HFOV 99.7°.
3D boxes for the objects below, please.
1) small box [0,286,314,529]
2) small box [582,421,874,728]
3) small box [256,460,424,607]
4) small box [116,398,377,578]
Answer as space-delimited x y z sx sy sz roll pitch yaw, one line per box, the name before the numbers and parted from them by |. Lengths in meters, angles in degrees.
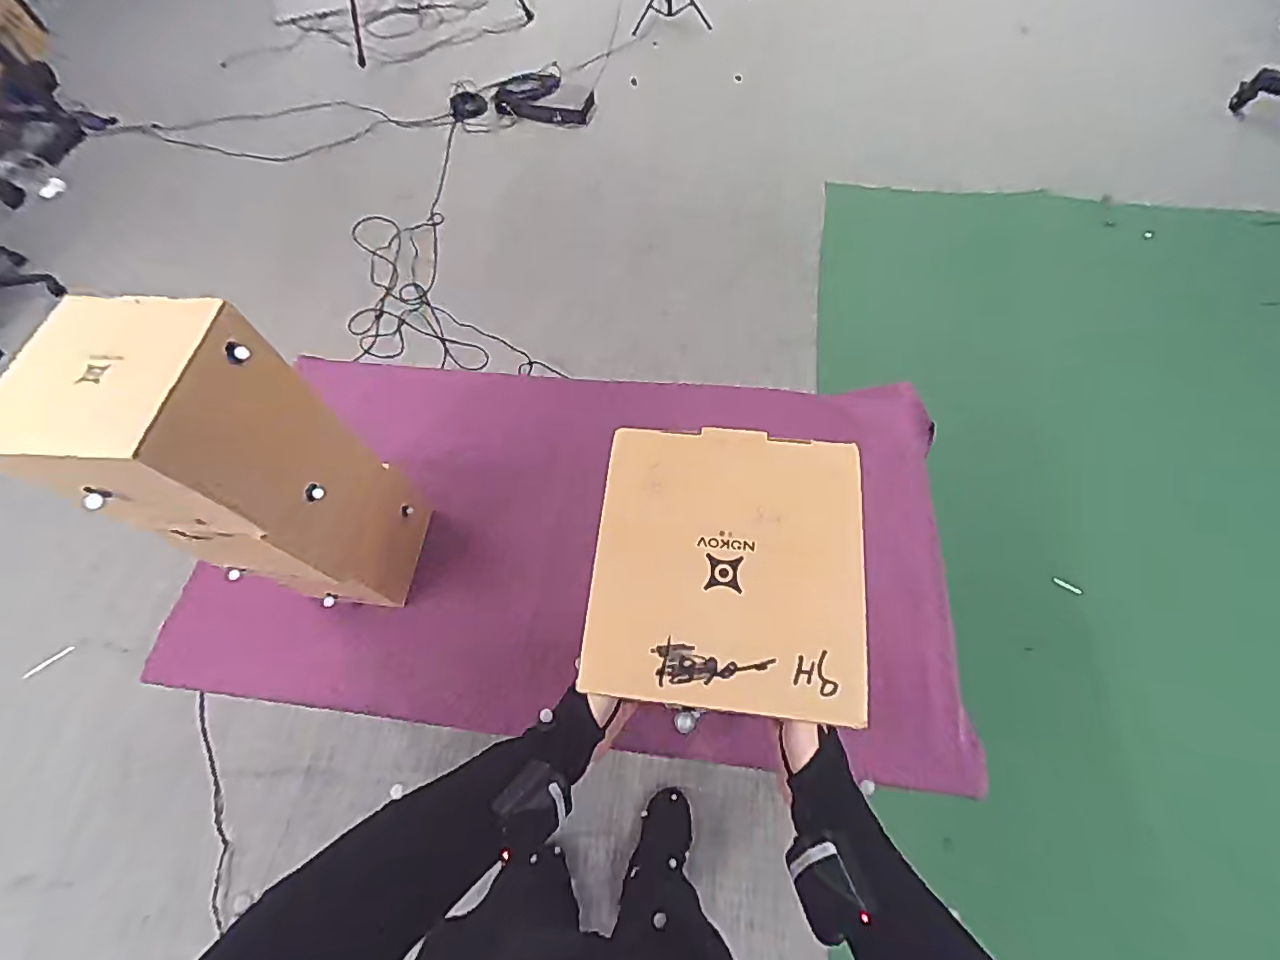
small box | -0.462 -0.063 0.528 0.168 0.176 0.179 3 62 5
small box | 0.064 0.076 0.405 0.168 0.176 0.179 5 69 8
small box | -0.453 0.079 0.821 0.168 0.176 0.179 5 63 5
small box | -0.461 0.011 0.672 0.168 0.176 0.179 5 62 5
